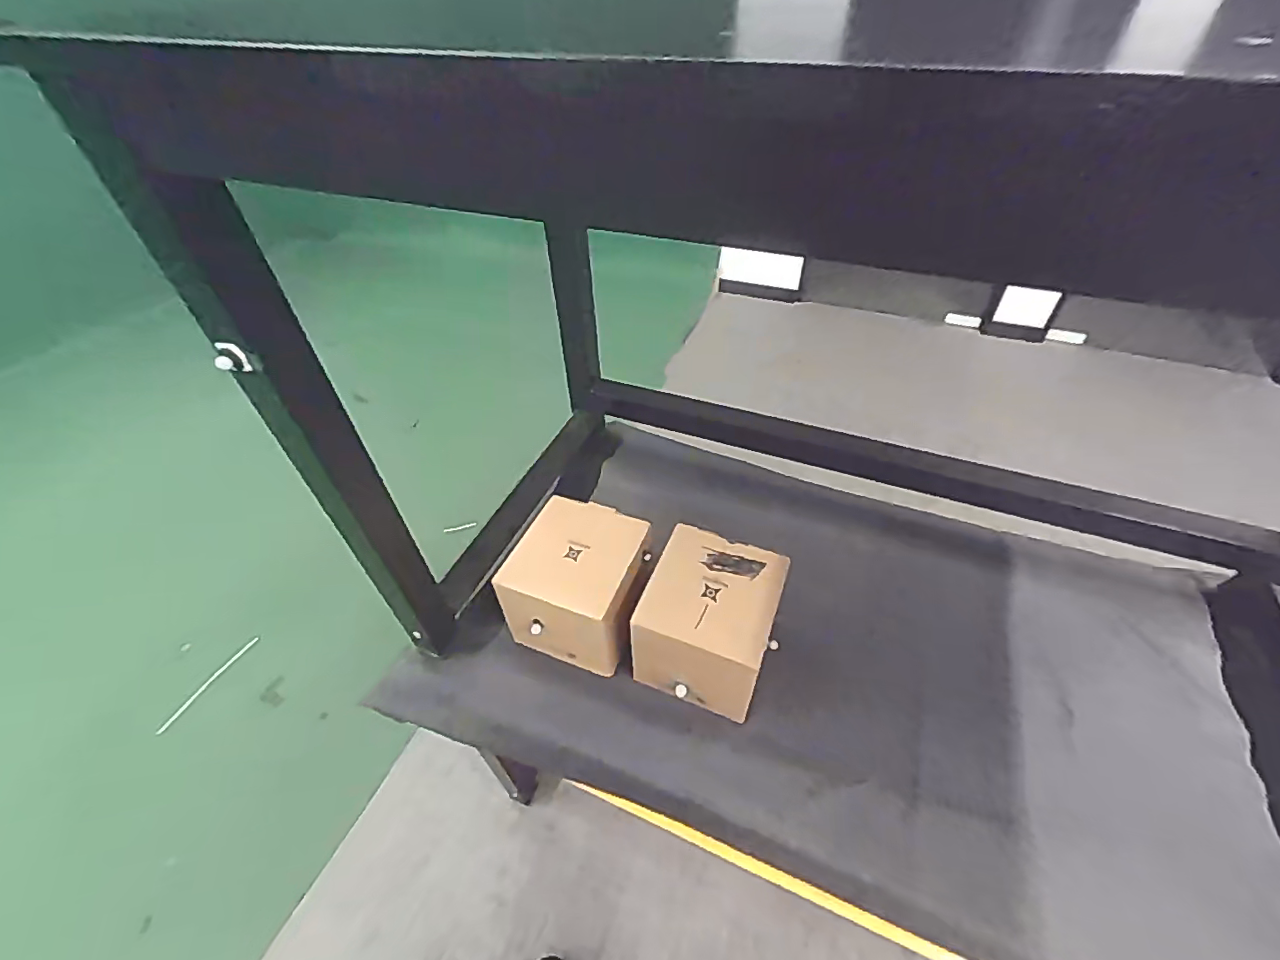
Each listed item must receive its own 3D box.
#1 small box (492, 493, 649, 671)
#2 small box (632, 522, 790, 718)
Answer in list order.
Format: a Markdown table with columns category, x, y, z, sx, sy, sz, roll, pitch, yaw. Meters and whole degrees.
| category | x | y | z | sx | sy | sz | roll | pitch | yaw |
| --- | --- | --- | --- | --- | --- | --- | --- | --- | --- |
| small box | -0.088 | 0.153 | 0.807 | 0.168 | 0.176 | 0.179 | 15 | 47 | 16 |
| small box | 0.097 | 0.194 | 0.757 | 0.168 | 0.176 | 0.179 | 15 | 48 | 18 |
